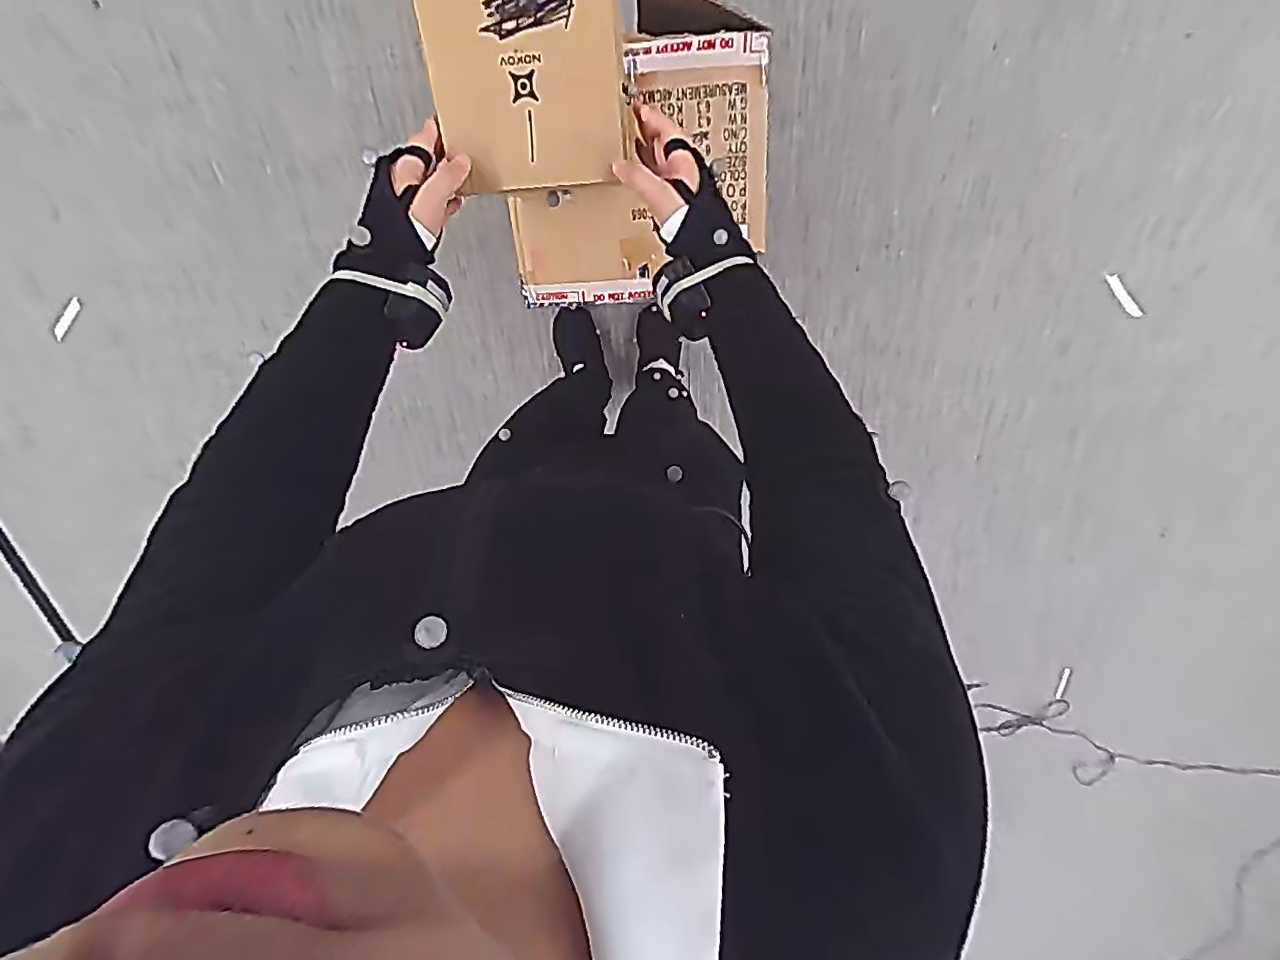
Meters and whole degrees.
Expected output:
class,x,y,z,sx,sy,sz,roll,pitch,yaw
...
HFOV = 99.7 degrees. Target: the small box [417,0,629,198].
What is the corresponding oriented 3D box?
class,x,y,z,sx,sy,sz,roll,pitch,yaw
small box,-0.099,-0.384,0.538,0.168,0.176,0.179,-3,118,3
